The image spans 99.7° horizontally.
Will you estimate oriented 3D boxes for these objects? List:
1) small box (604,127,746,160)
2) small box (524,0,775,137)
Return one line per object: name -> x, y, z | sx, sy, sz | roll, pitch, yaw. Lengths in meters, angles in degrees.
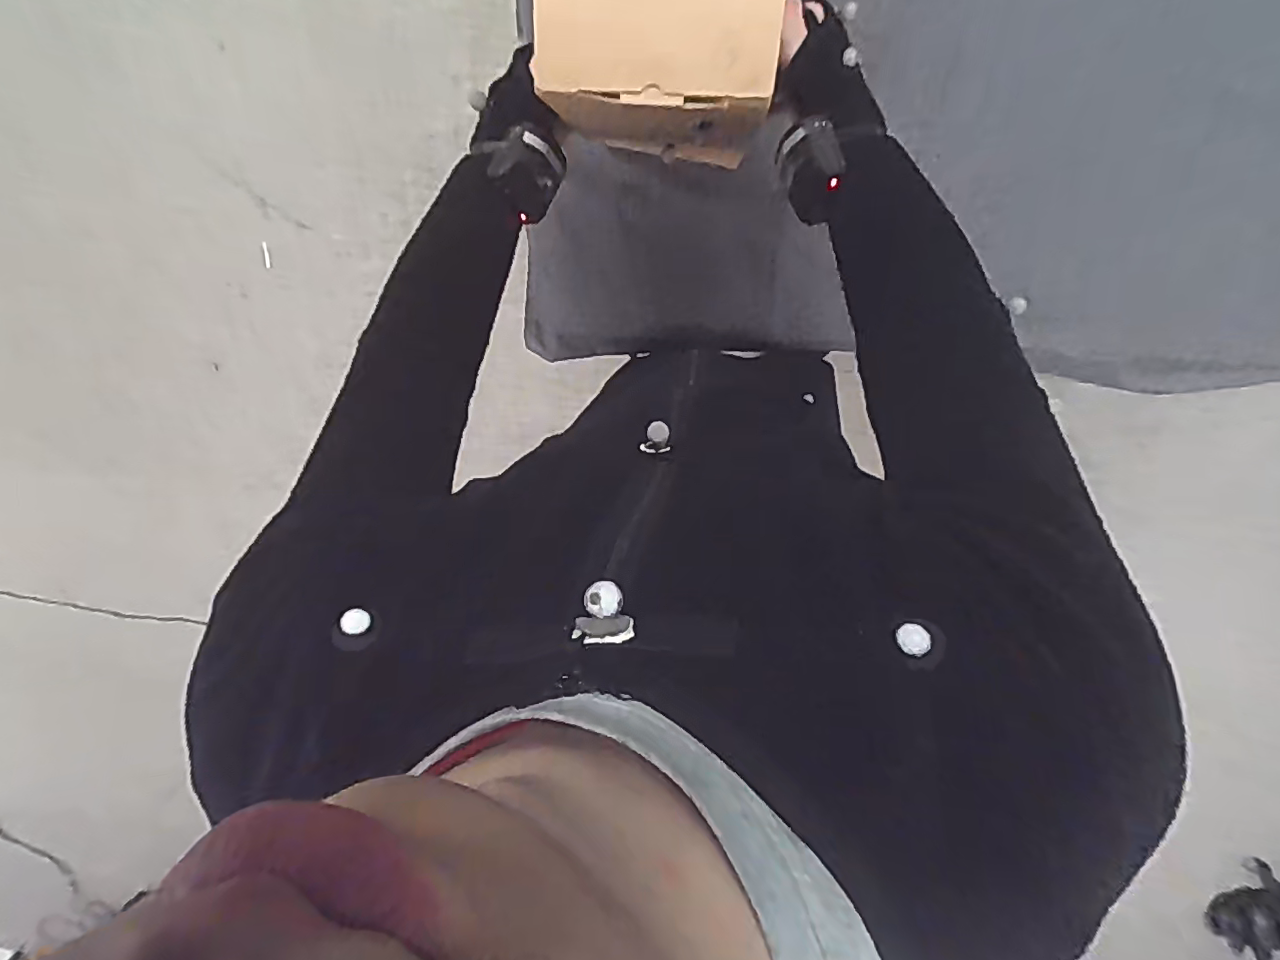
small box -> 0.043, -0.445, 0.552 | 0.168, 0.176, 0.179 | 11, 113, 1
small box -> 0.017, -0.375, 0.406 | 0.168, 0.176, 0.179 | 5, 112, 4
